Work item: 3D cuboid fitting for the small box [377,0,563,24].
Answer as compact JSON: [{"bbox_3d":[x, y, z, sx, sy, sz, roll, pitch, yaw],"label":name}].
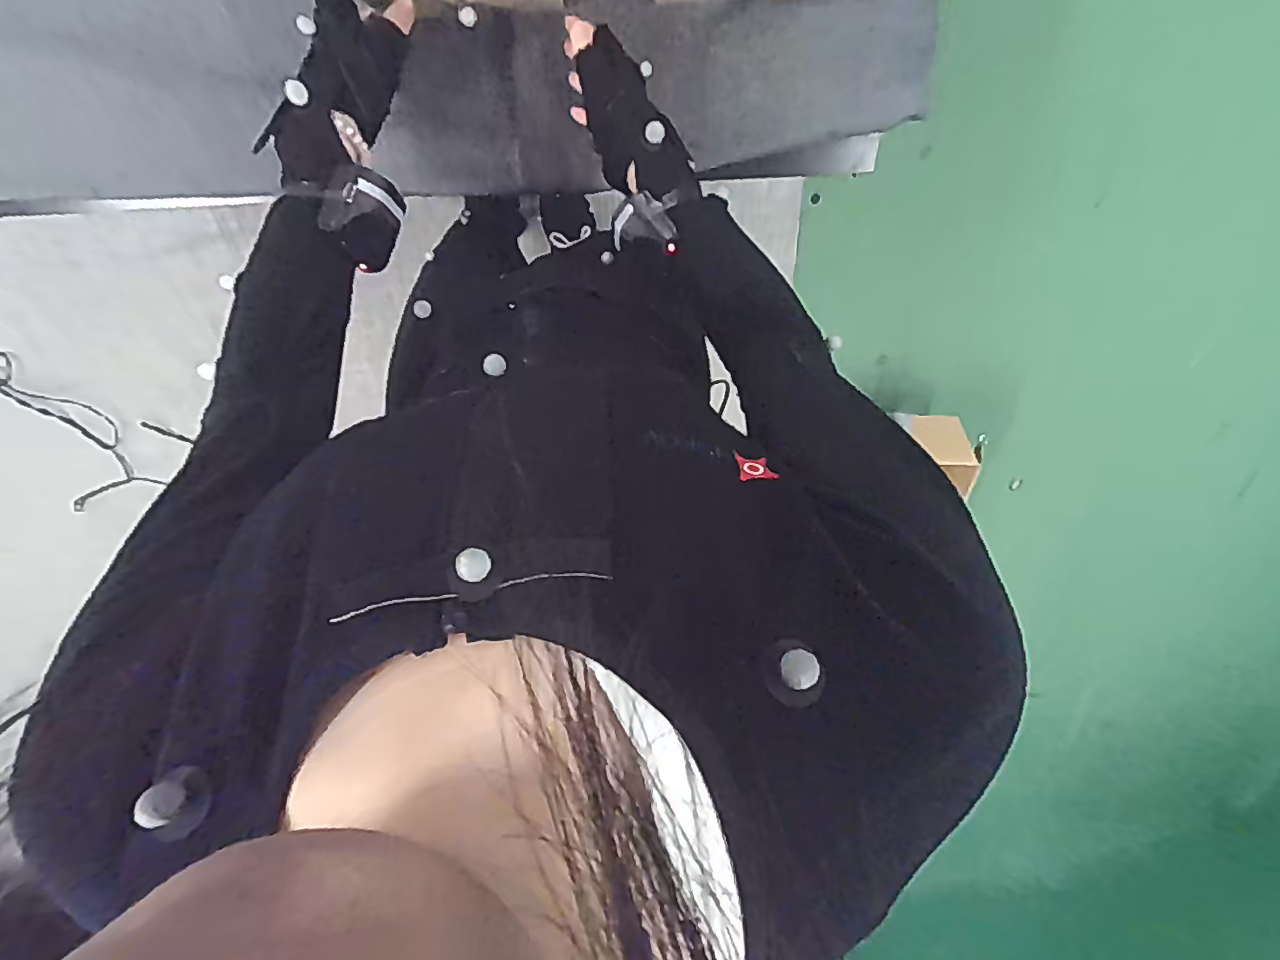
[{"bbox_3d":[-0.148,-0.466,0.394,0.168,0.176,0.179,-5,120,-2],"label":"small box"}]
